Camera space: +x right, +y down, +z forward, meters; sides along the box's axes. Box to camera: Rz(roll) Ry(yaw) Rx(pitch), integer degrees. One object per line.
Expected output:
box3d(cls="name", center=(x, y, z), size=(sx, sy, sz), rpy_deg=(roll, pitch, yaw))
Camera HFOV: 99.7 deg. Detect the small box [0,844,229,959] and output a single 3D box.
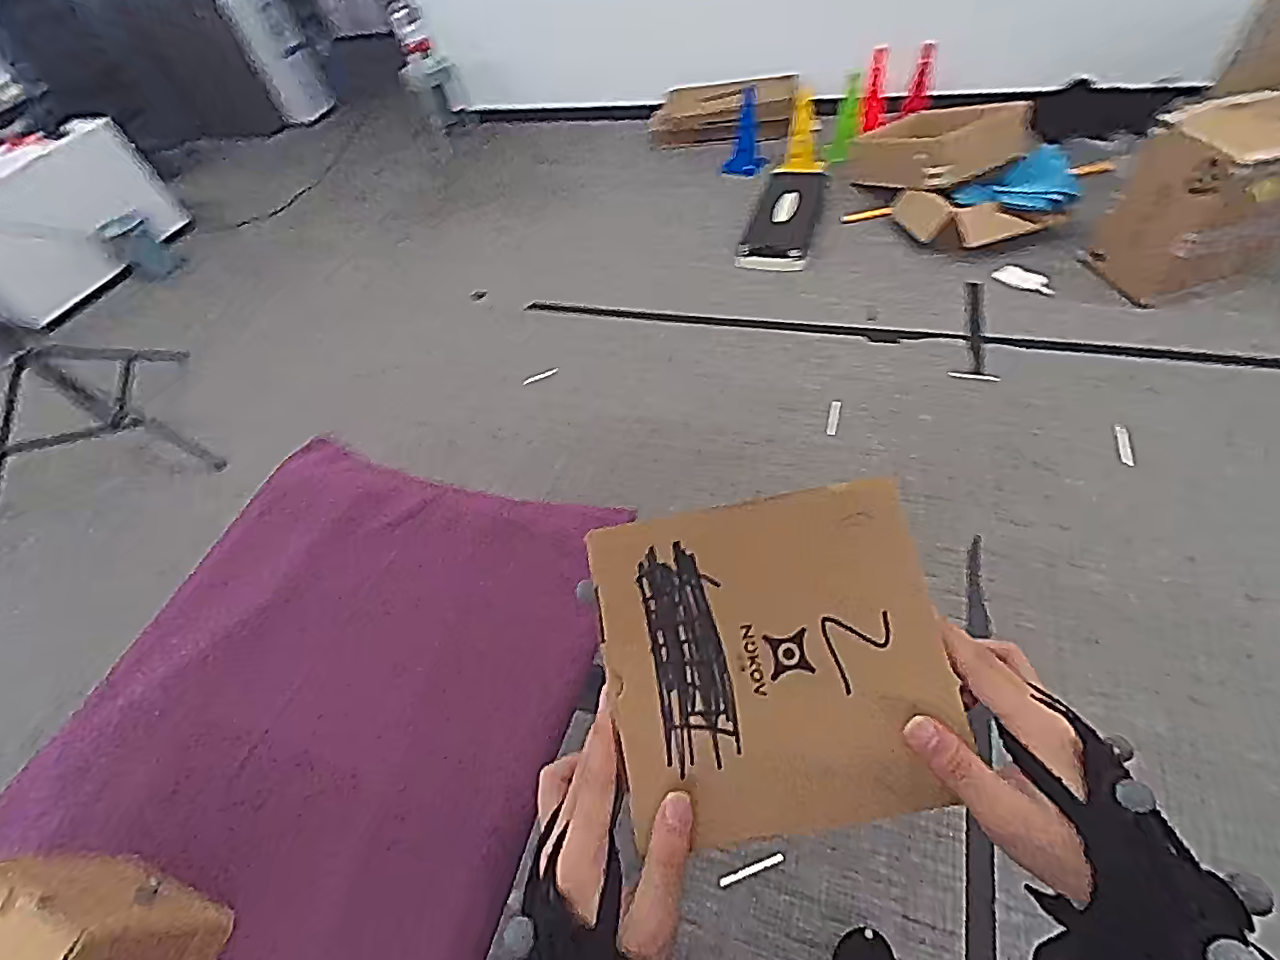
box3d(cls="small box", center=(-0.514, 0.440, 0.457), size=(0.168, 0.176, 0.179), rpy_deg=(11, 55, 17))
